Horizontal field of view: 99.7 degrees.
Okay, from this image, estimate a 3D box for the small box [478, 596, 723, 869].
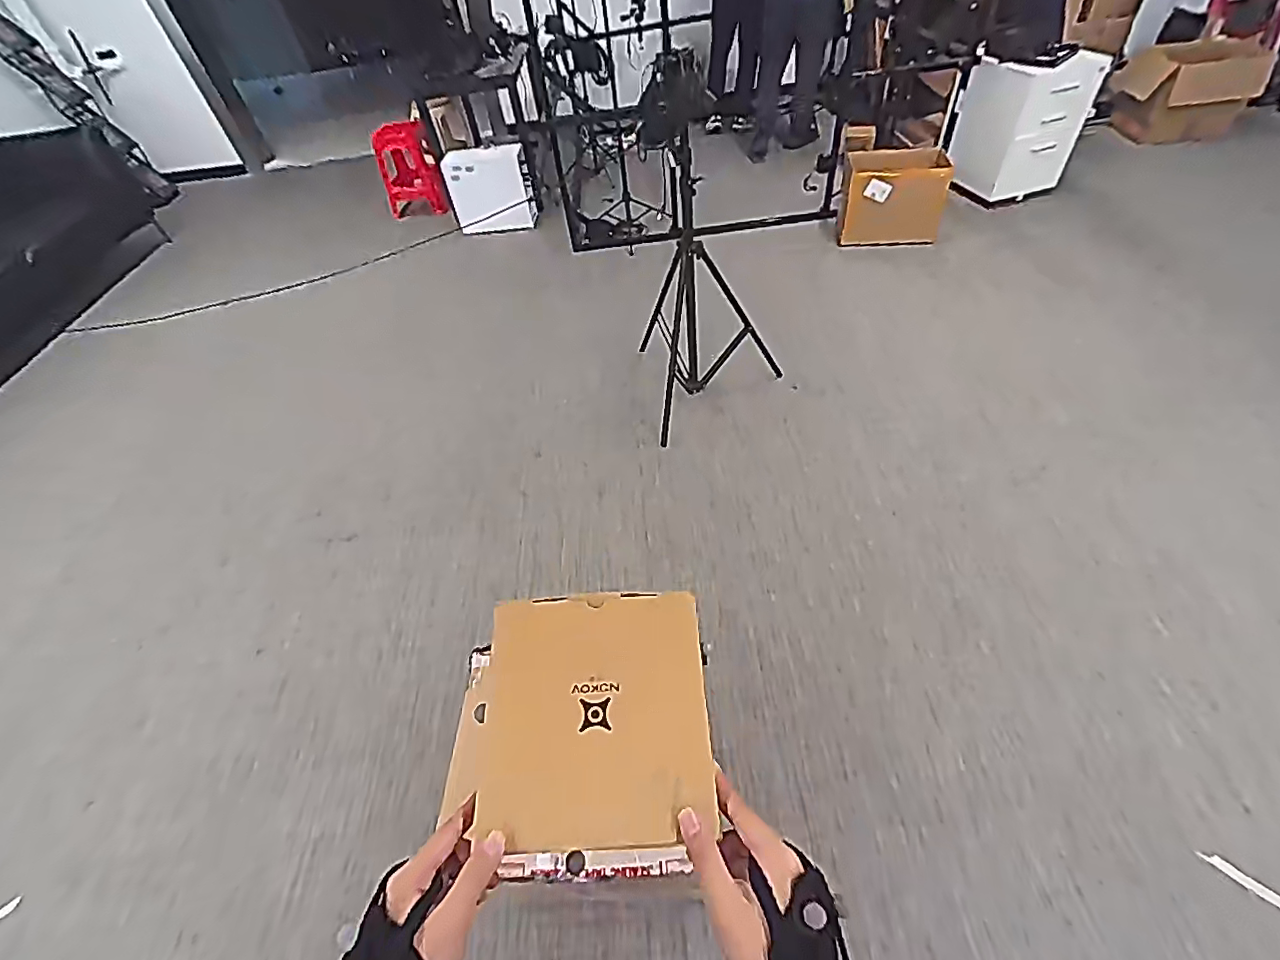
[{"bbox_3d":[-0.028,0.217,0.463,0.168,0.176,0.179,-4,56,-1],"label":"small box"}]
